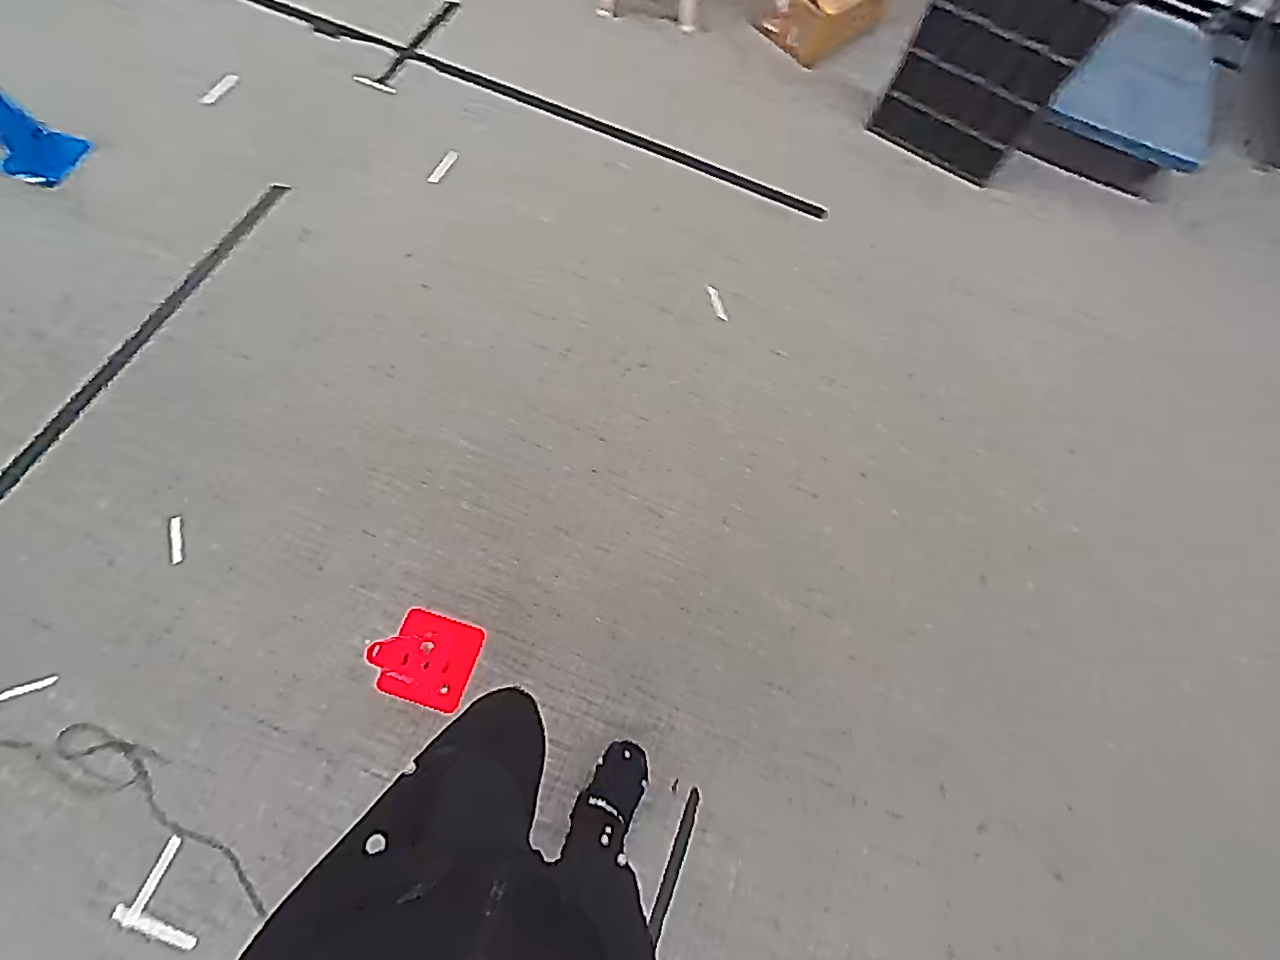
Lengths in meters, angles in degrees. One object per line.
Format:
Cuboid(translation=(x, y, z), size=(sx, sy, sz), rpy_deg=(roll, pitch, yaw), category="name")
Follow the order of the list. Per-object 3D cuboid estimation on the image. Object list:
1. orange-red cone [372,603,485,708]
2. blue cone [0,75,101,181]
Cuboid(translation=(-0.469, 0.348, 1.107), size=(0.198, 0.360, 0.199), rpy_deg=(20, 68, 1), category="orange-red cone")
Cuboid(translation=(-1.771, -1.060, 1.500), size=(0.192, 0.380, 0.193), rpy_deg=(19, 69, 2), category="blue cone")
